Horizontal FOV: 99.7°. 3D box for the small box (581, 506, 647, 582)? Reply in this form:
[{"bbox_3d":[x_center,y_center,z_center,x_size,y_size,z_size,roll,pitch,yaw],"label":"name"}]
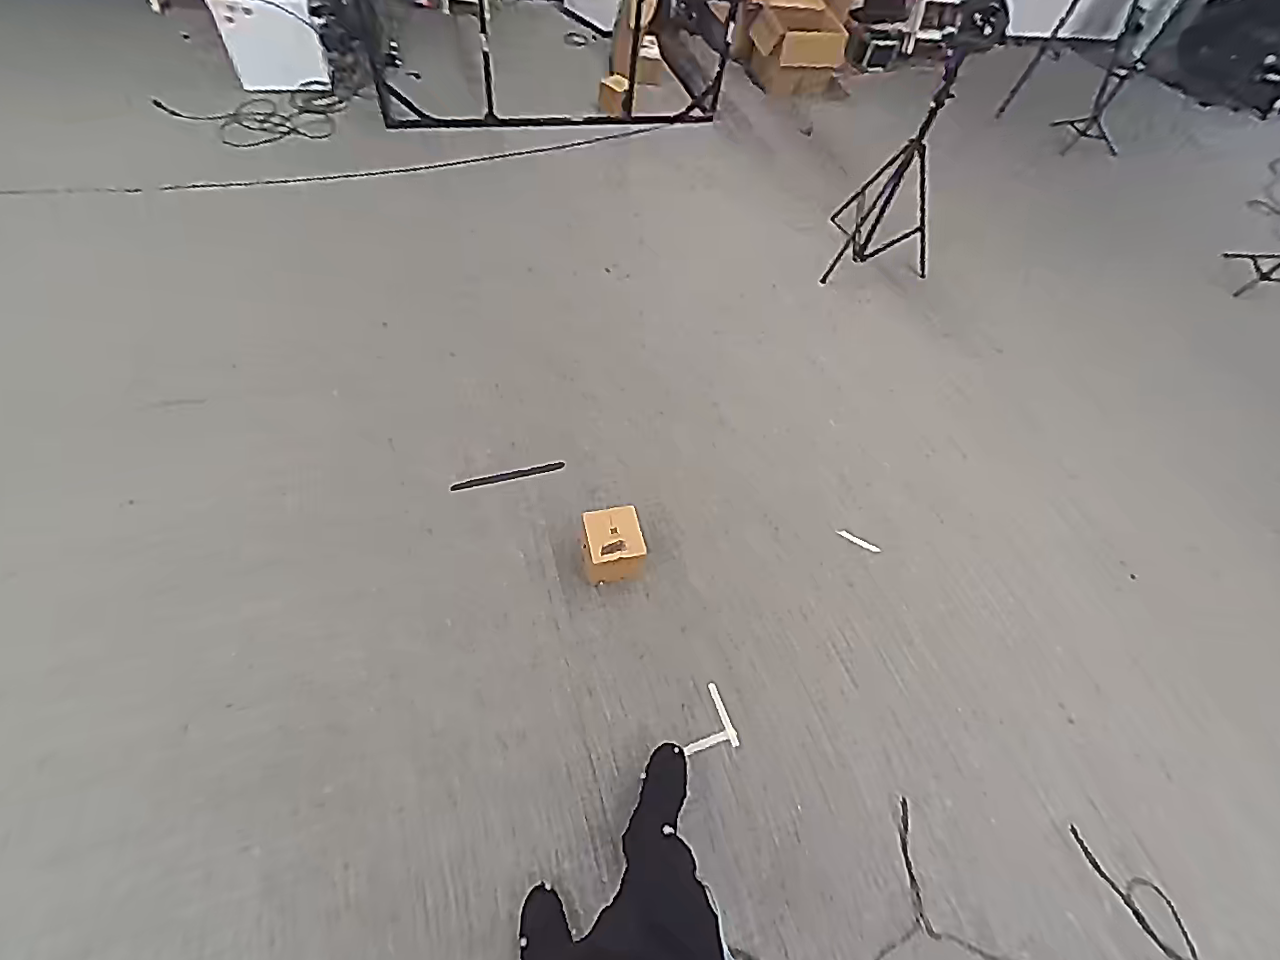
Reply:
[{"bbox_3d":[-0.086,0.205,1.679,0.168,0.176,0.179,-8,58,-14],"label":"small box"}]
